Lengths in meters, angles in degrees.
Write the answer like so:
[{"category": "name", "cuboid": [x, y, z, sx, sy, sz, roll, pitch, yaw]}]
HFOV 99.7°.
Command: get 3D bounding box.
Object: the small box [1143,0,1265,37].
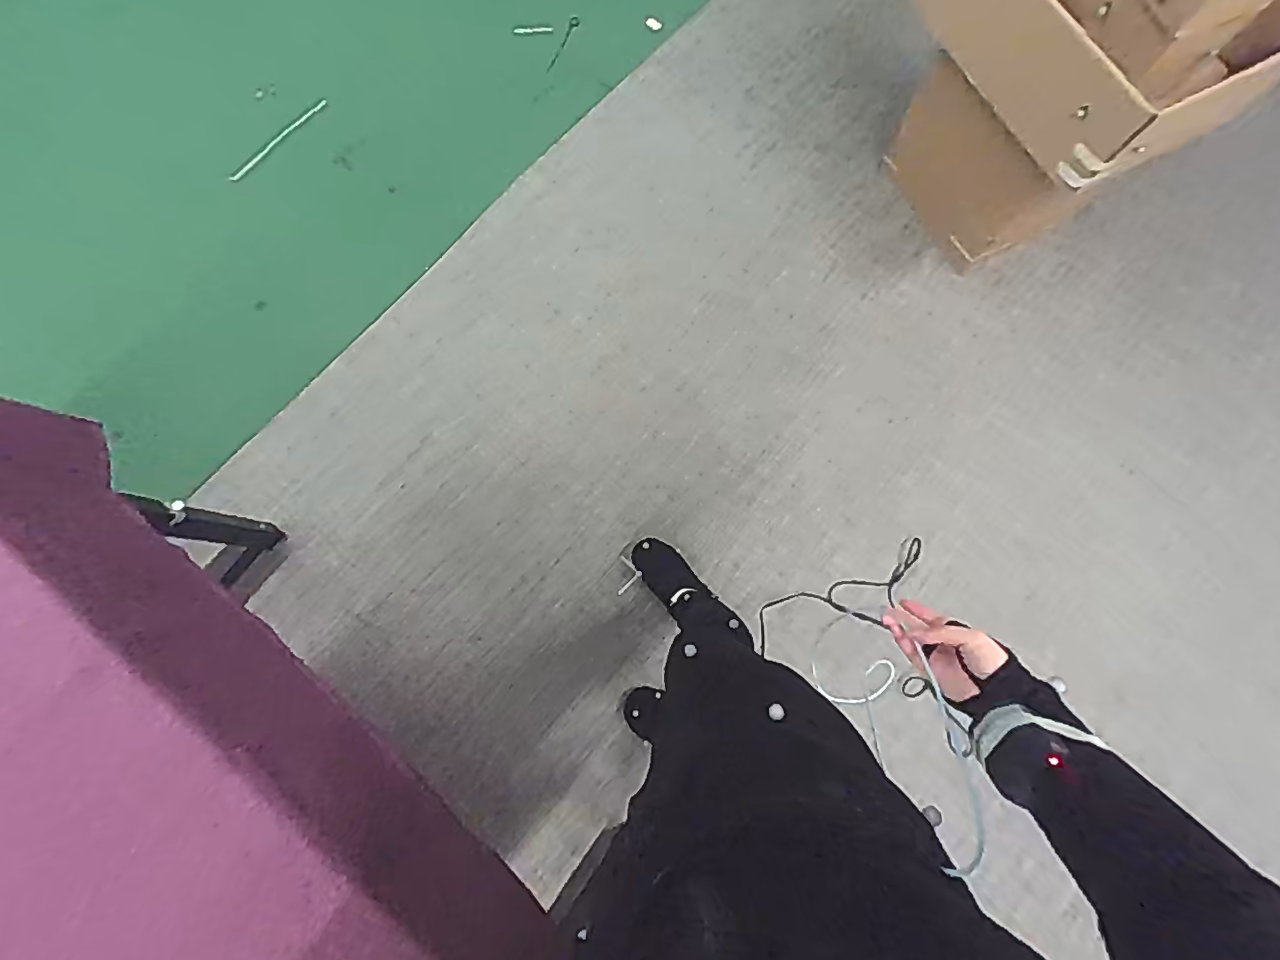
[{"category": "small box", "cuboid": [0.898, -0.822, 0.812, 0.179, 0.176, 0.168, -20, 79, -3]}]
